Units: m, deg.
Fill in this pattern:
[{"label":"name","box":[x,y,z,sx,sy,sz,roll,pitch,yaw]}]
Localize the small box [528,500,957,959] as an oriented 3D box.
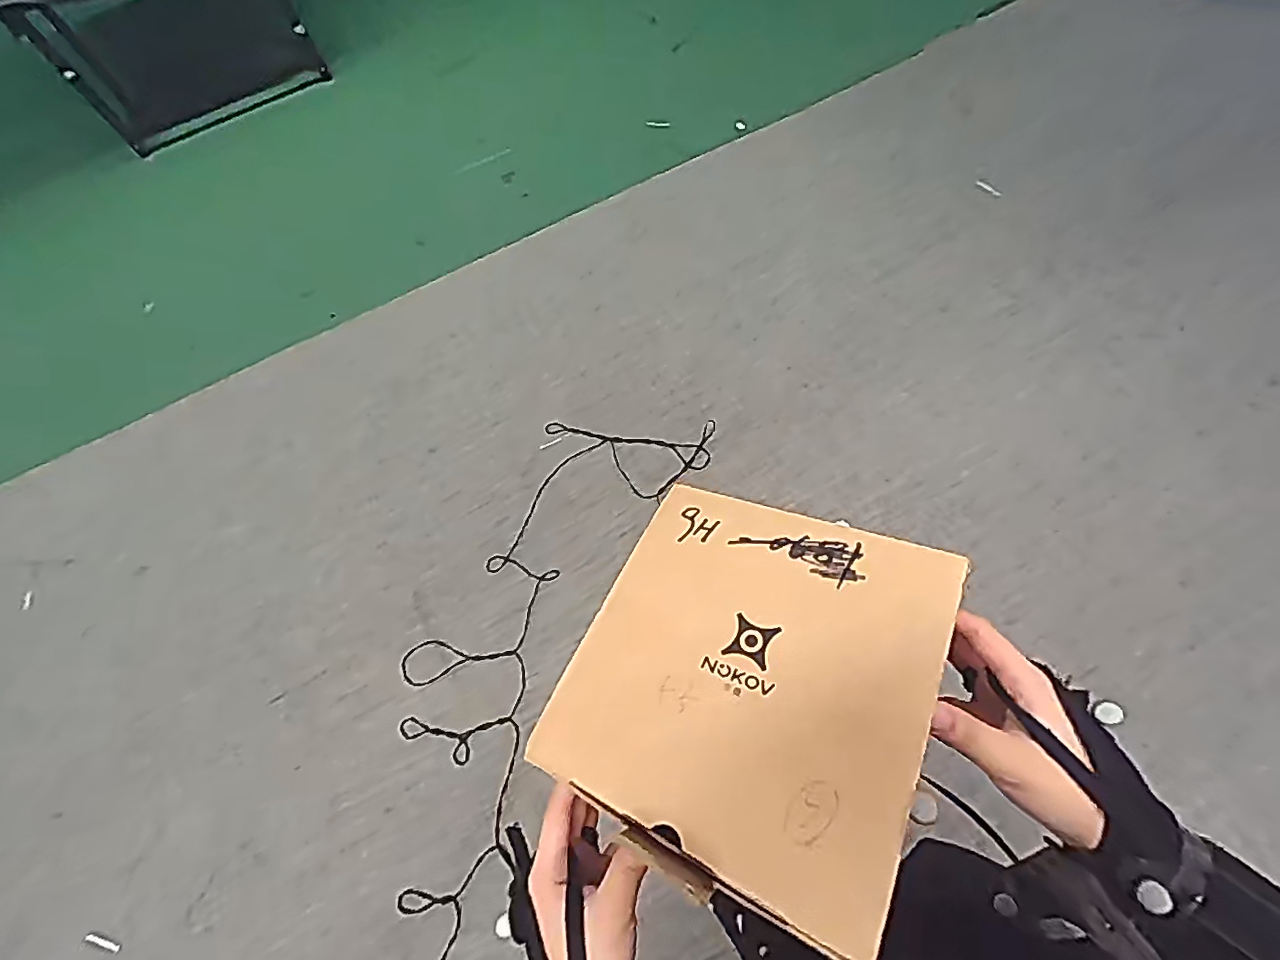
[{"label":"small box","box":[0.072,0.143,0.326,0.168,0.176,0.179,15,60,30]}]
